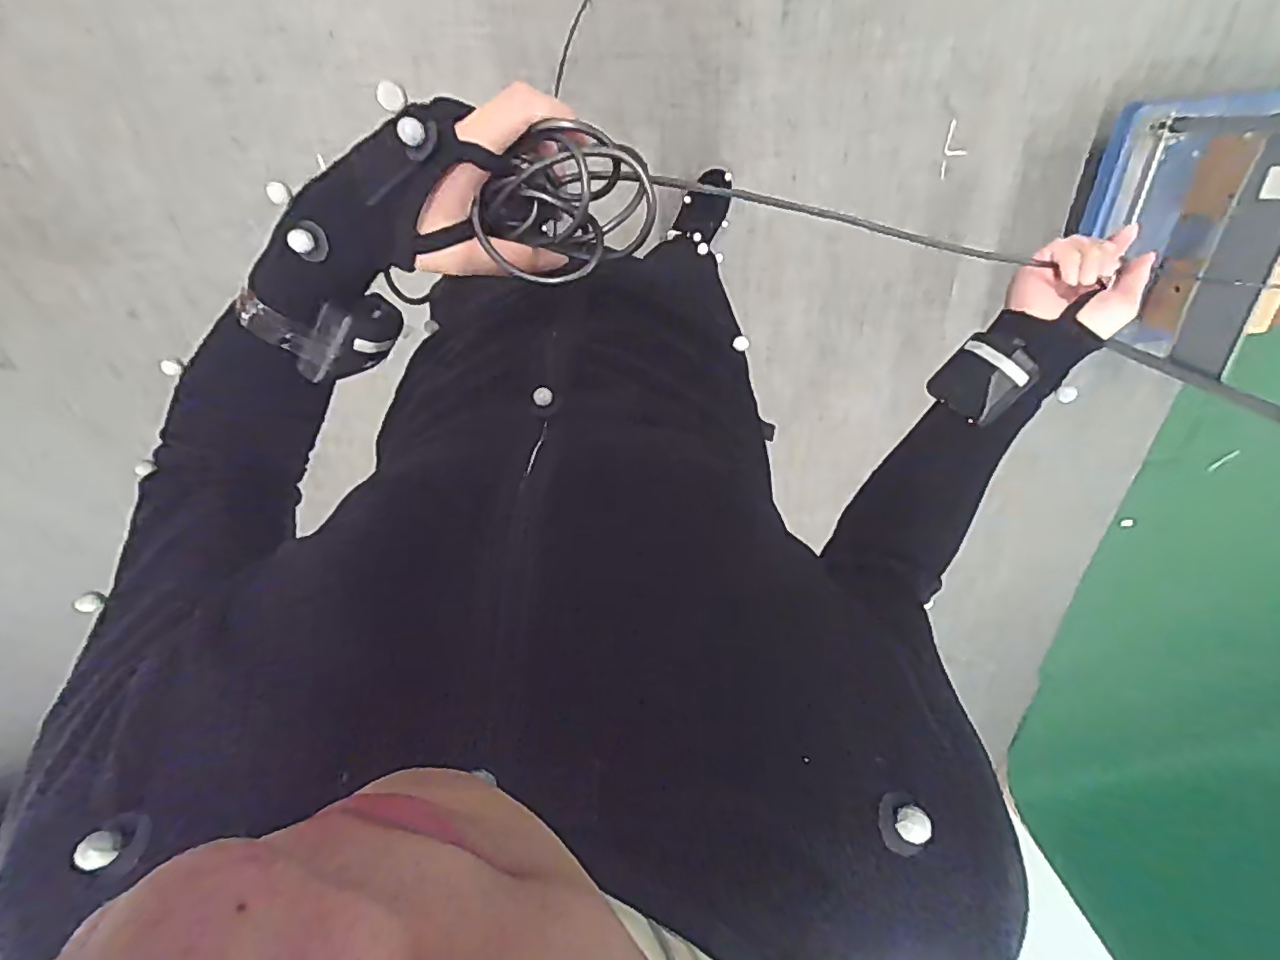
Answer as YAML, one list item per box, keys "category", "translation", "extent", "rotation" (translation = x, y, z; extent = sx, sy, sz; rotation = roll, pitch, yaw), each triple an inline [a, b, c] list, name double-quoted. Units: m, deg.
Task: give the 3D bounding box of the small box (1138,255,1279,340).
- category: "small box"
  translation: [1.445, -0.466, 1.372]
  extent: [0.179, 0.176, 0.168]
  rotation: [-5, 122, -2]

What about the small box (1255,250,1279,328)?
- category: "small box"
  translation: [1.714, -0.495, 1.383]
  extent: [0.179, 0.176, 0.168]
  rotation: [-9, 121, 0]
